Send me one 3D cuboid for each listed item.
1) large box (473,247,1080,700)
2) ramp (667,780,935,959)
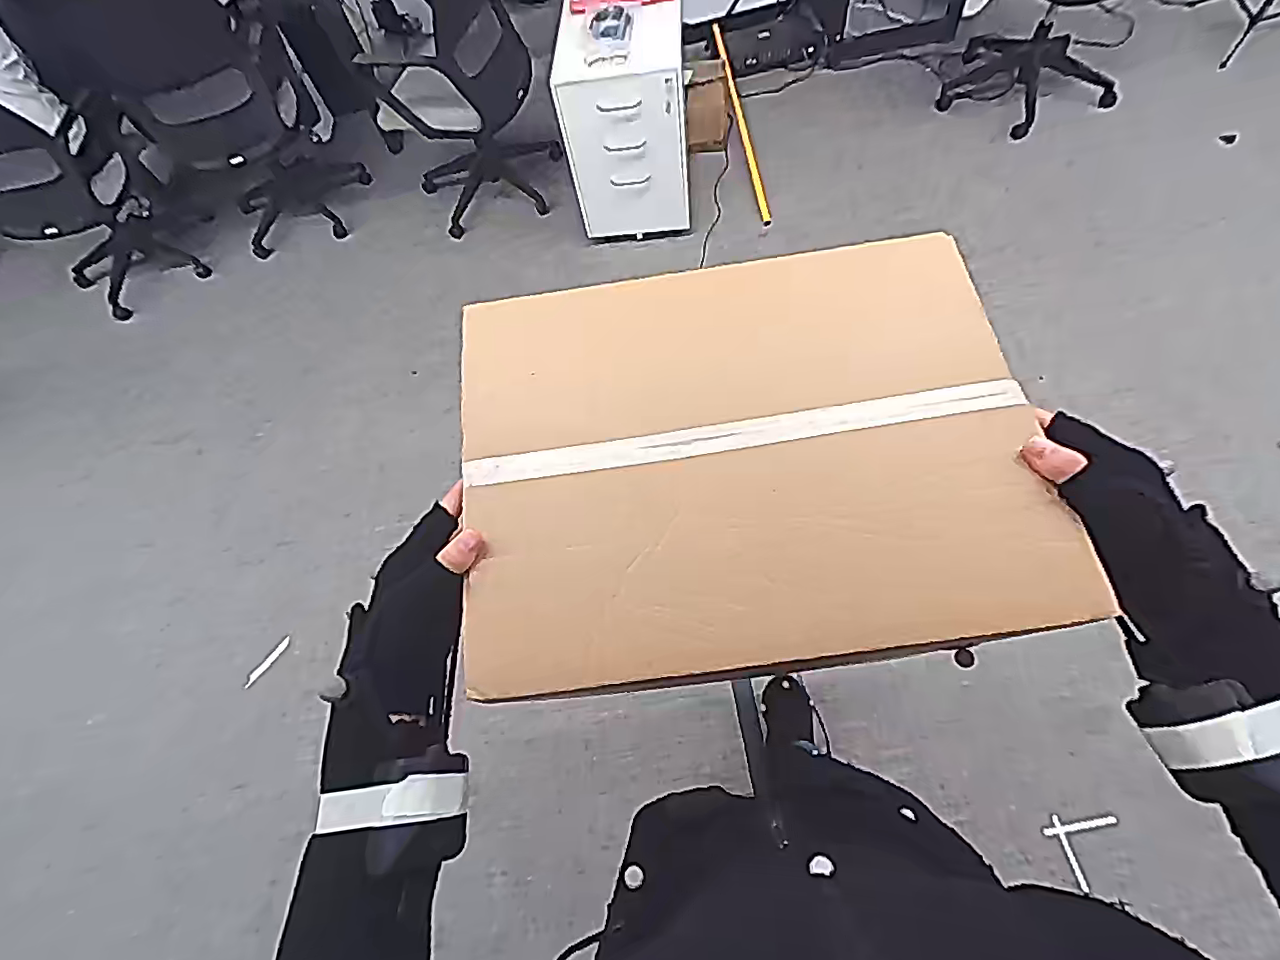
[{"bbox_3d":[0.086,0.027,0.546,0.408,0.320,0.320,-9,68,2],"label":"large box"},{"bbox_3d":[0.357,1.124,0.953,0.509,0.206,0.991,-13,62,3],"label":"ramp"}]
